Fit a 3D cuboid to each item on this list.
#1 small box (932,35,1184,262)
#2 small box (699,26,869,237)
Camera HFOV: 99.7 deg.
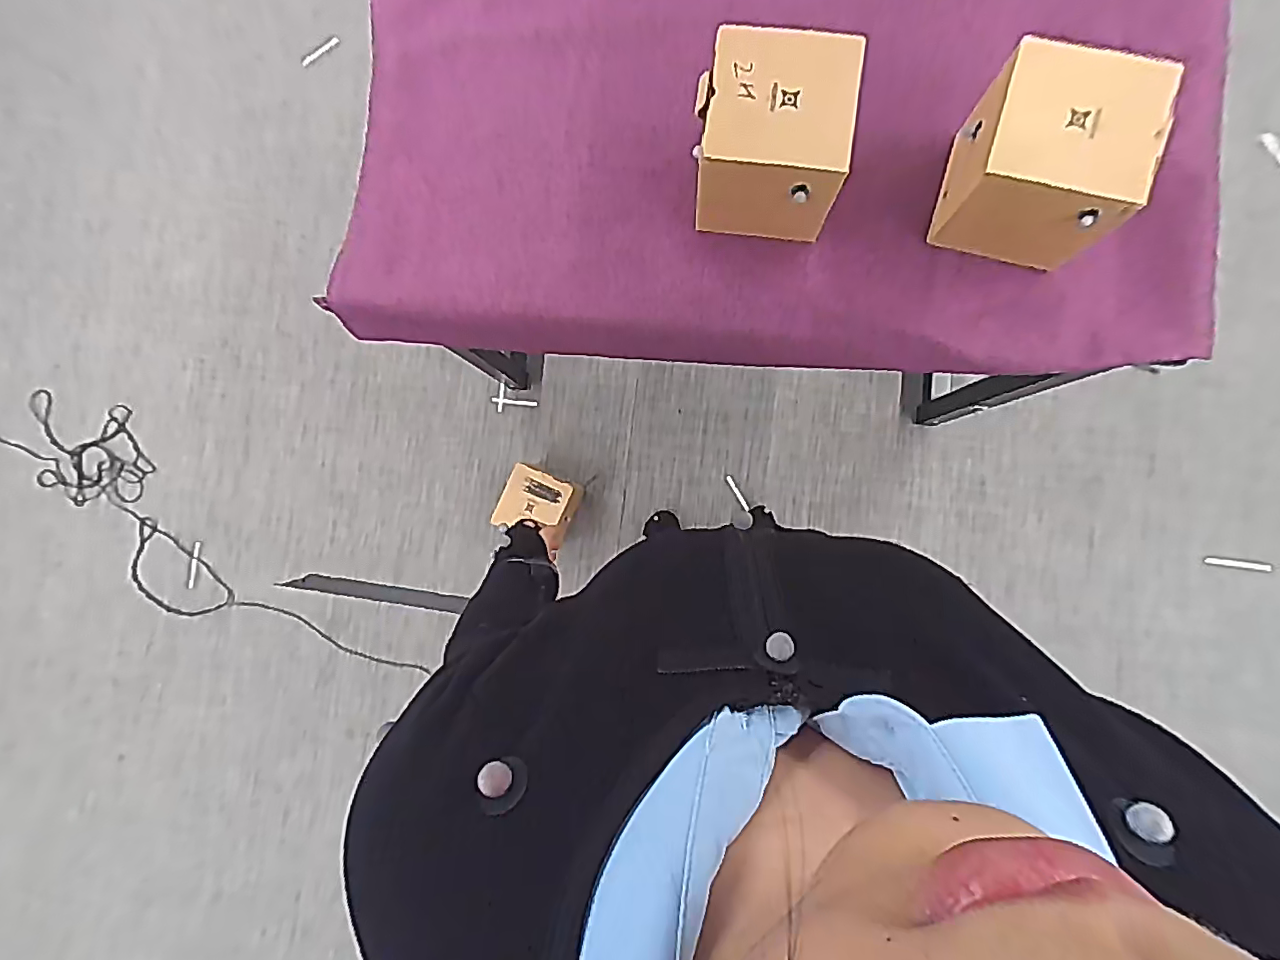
[{"bbox_3d":[0.502,-0.399,0.680,0.179,0.176,0.168,16,89,6],"label":"small box"},{"bbox_3d":[0.176,-0.442,0.712,0.179,0.176,0.168,8,87,5],"label":"small box"}]
